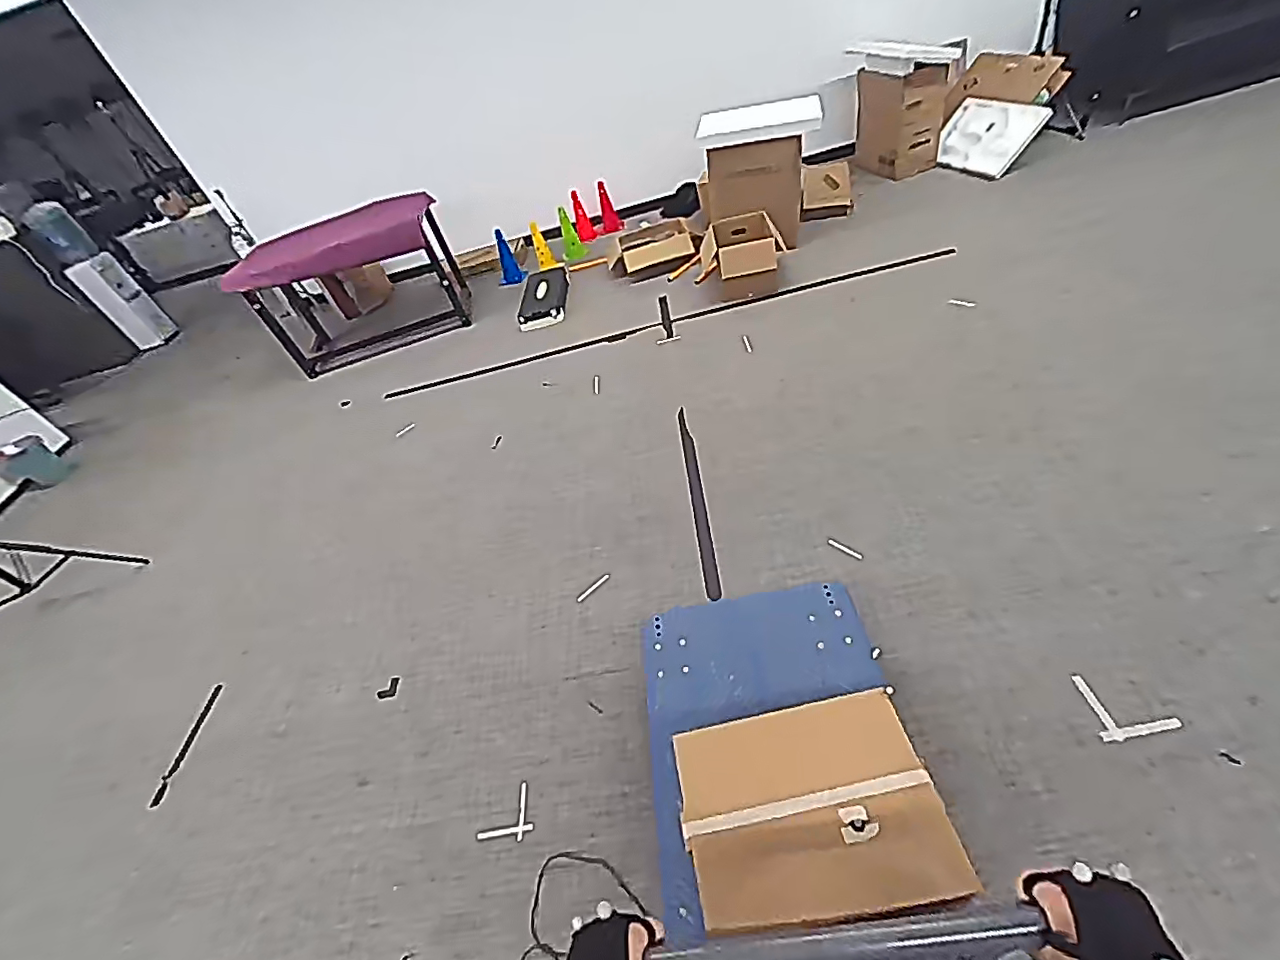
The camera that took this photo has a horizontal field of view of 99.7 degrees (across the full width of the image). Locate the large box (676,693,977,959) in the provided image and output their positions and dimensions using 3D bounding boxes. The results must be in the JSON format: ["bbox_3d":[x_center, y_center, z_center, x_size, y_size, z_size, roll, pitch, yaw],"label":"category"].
[{"bbox_3d":[0.308,0.651,0.996,0.408,0.320,0.320,-14,43,2],"label":"large box"}]
